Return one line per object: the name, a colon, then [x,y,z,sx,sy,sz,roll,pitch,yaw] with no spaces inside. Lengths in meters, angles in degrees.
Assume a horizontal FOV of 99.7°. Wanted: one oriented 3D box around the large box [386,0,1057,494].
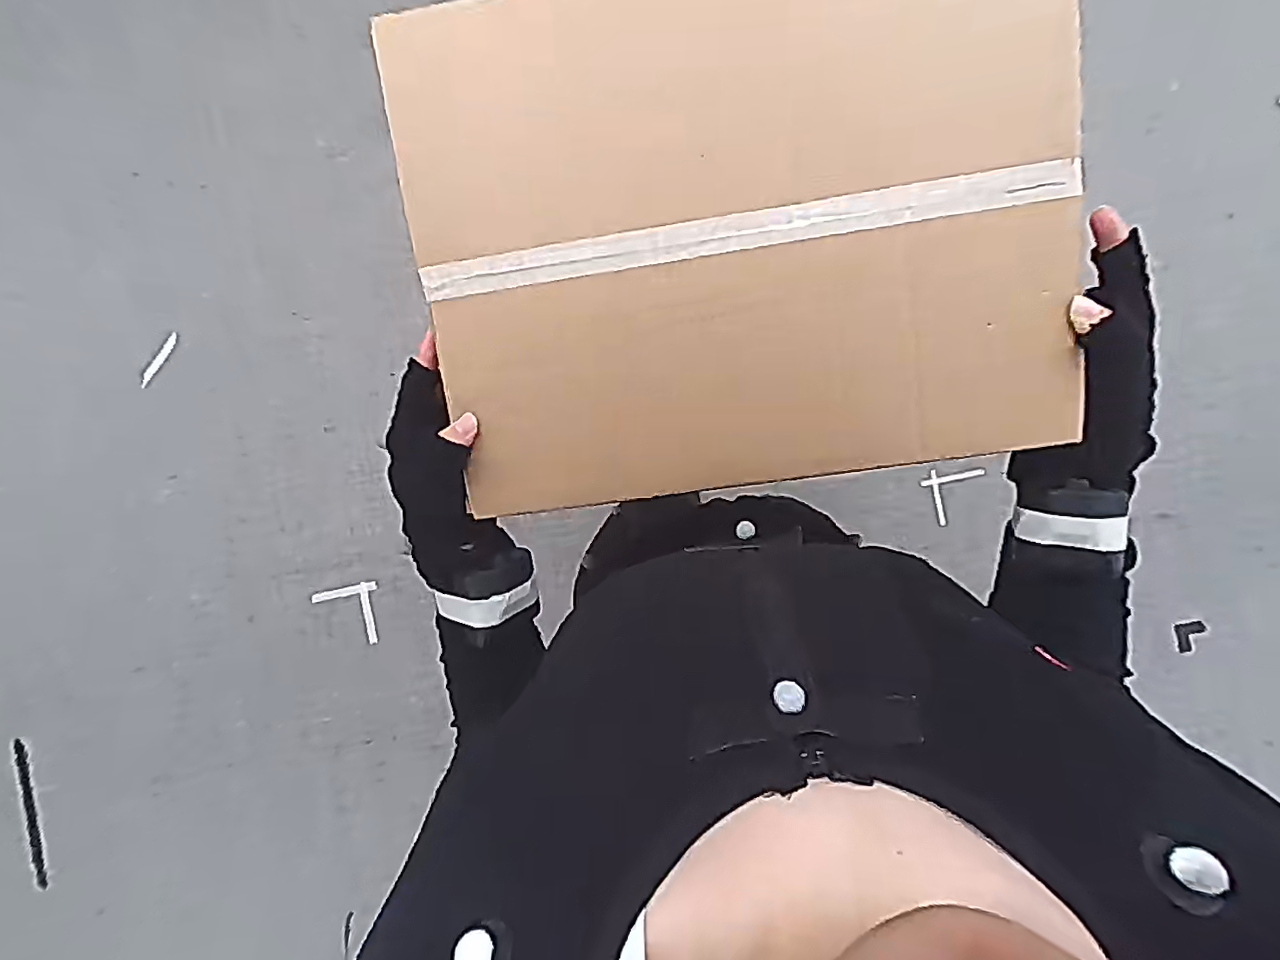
large box: [0.063,-0.191,0.492,0.408,0.320,0.320,-8,100,4]
